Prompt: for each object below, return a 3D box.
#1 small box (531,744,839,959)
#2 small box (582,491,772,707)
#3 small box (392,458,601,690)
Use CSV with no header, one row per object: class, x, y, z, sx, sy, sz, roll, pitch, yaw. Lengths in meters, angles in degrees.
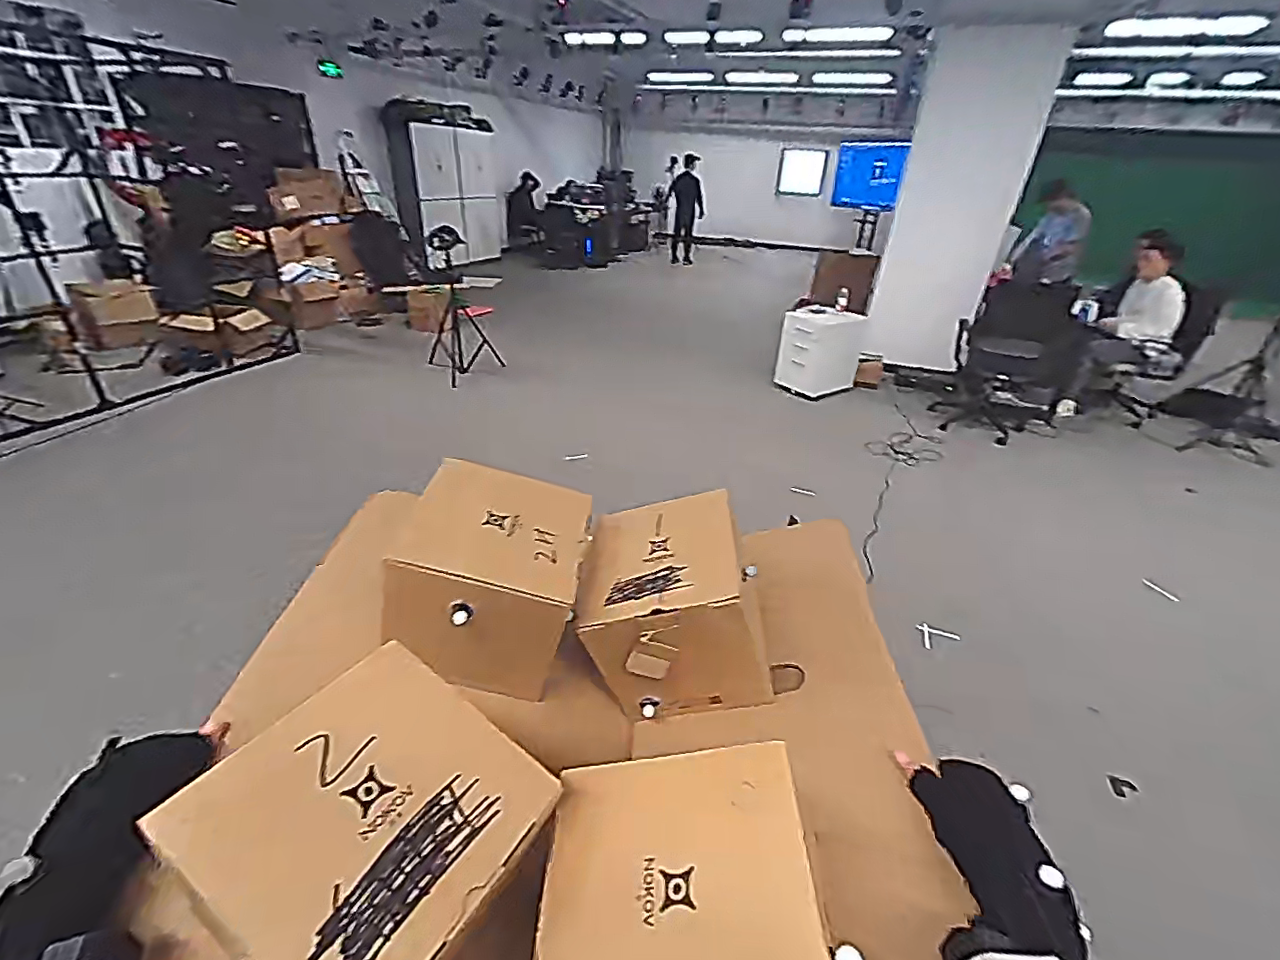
small box,0.043,0.315,0.381,0.179,0.176,0.168,-14,34,14
small box,0.051,0.142,0.624,0.168,0.176,0.179,-12,32,14
small box,-0.158,0.107,0.603,0.179,0.176,0.168,18,36,-7
